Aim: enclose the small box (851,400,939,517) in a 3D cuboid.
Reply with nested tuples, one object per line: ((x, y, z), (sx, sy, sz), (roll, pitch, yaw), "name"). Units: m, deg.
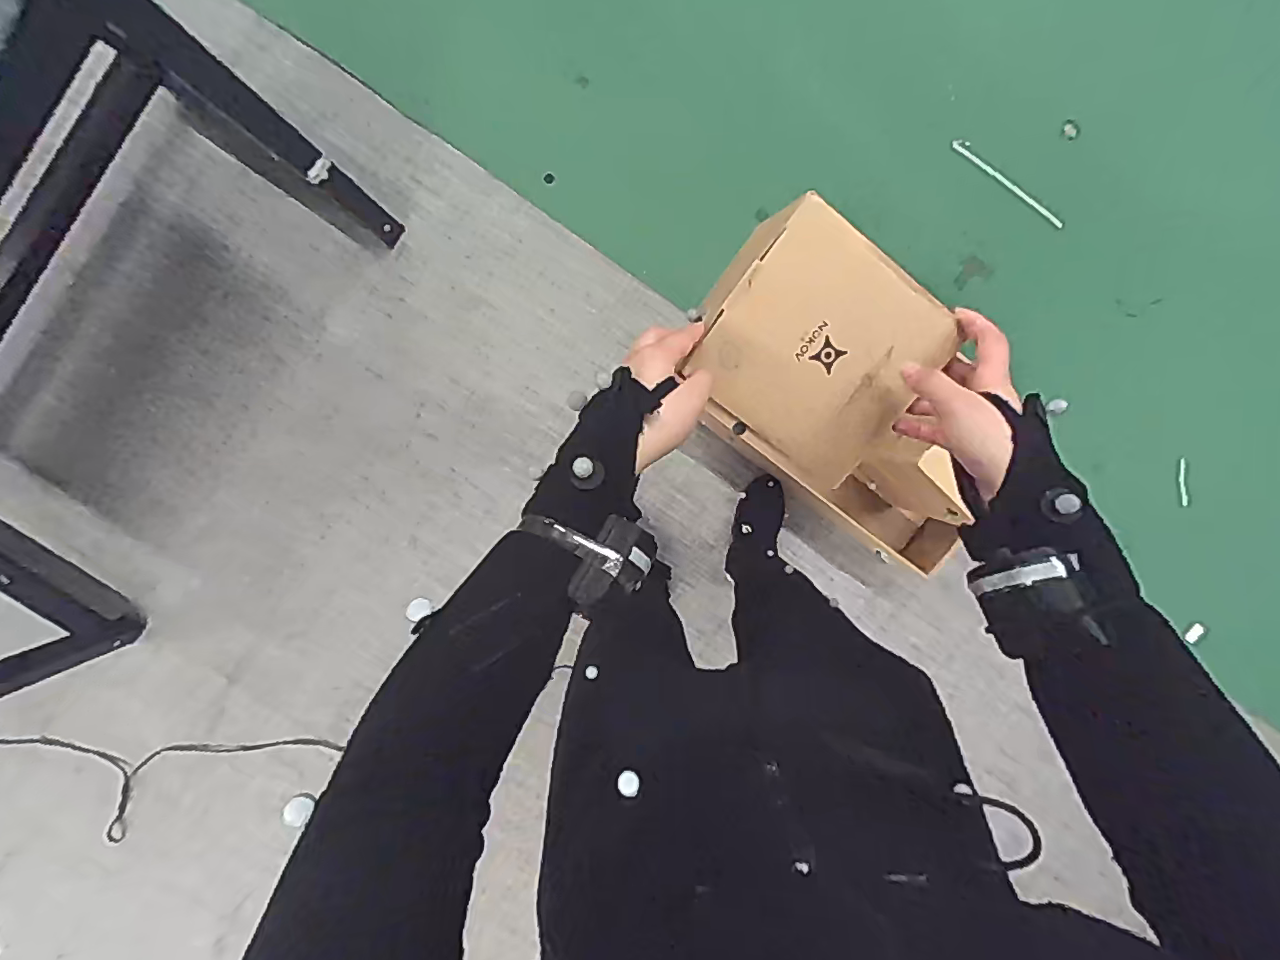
((0.575, -0.050, 1.152), (0.168, 0.176, 0.179), (44, 94, -3), "small box")

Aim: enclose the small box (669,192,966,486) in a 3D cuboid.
((0.141, -0.127, 0.505), (0.179, 0.176, 0.168), (34, 105, -12), "small box")

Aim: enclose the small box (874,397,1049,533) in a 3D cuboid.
((0.574, -0.033, 0.988), (0.179, 0.176, 0.168), (45, 93, -3), "small box")
